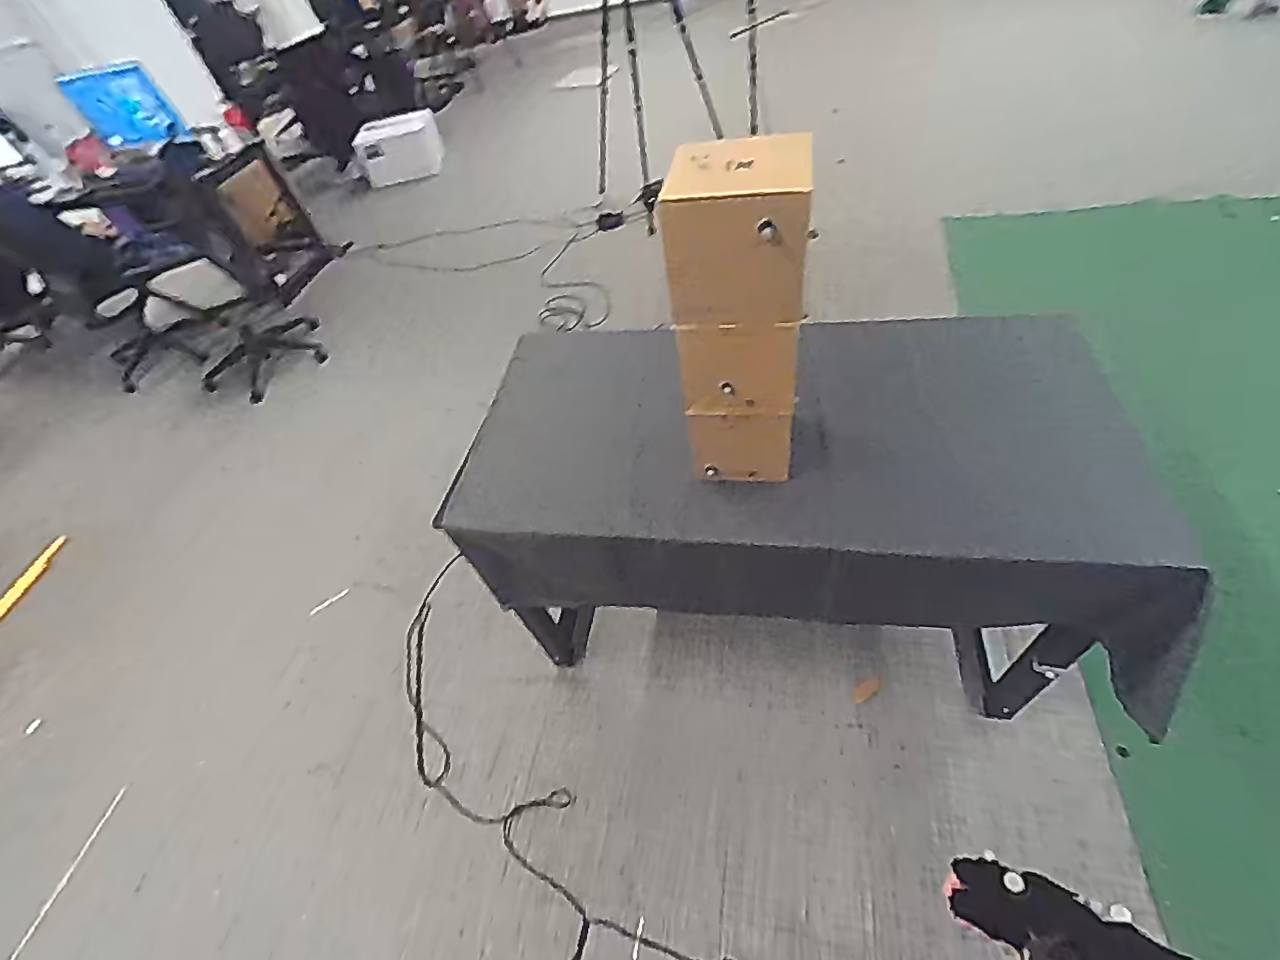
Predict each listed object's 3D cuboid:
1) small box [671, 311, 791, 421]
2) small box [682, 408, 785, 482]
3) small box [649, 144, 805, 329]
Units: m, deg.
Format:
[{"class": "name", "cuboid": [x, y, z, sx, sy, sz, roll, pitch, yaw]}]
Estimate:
[{"class": "small box", "cuboid": [0.148, -0.214, 0.847, 0.168, 0.176, 0.179, 1, 51, 13]}, {"class": "small box", "cuboid": [0.174, -0.110, 0.969, 0.168, 0.176, 0.179, 1, 49, 13]}, {"class": "small box", "cuboid": [0.122, -0.317, 0.721, 0.179, 0.176, 0.168, 3, 51, 14]}]
